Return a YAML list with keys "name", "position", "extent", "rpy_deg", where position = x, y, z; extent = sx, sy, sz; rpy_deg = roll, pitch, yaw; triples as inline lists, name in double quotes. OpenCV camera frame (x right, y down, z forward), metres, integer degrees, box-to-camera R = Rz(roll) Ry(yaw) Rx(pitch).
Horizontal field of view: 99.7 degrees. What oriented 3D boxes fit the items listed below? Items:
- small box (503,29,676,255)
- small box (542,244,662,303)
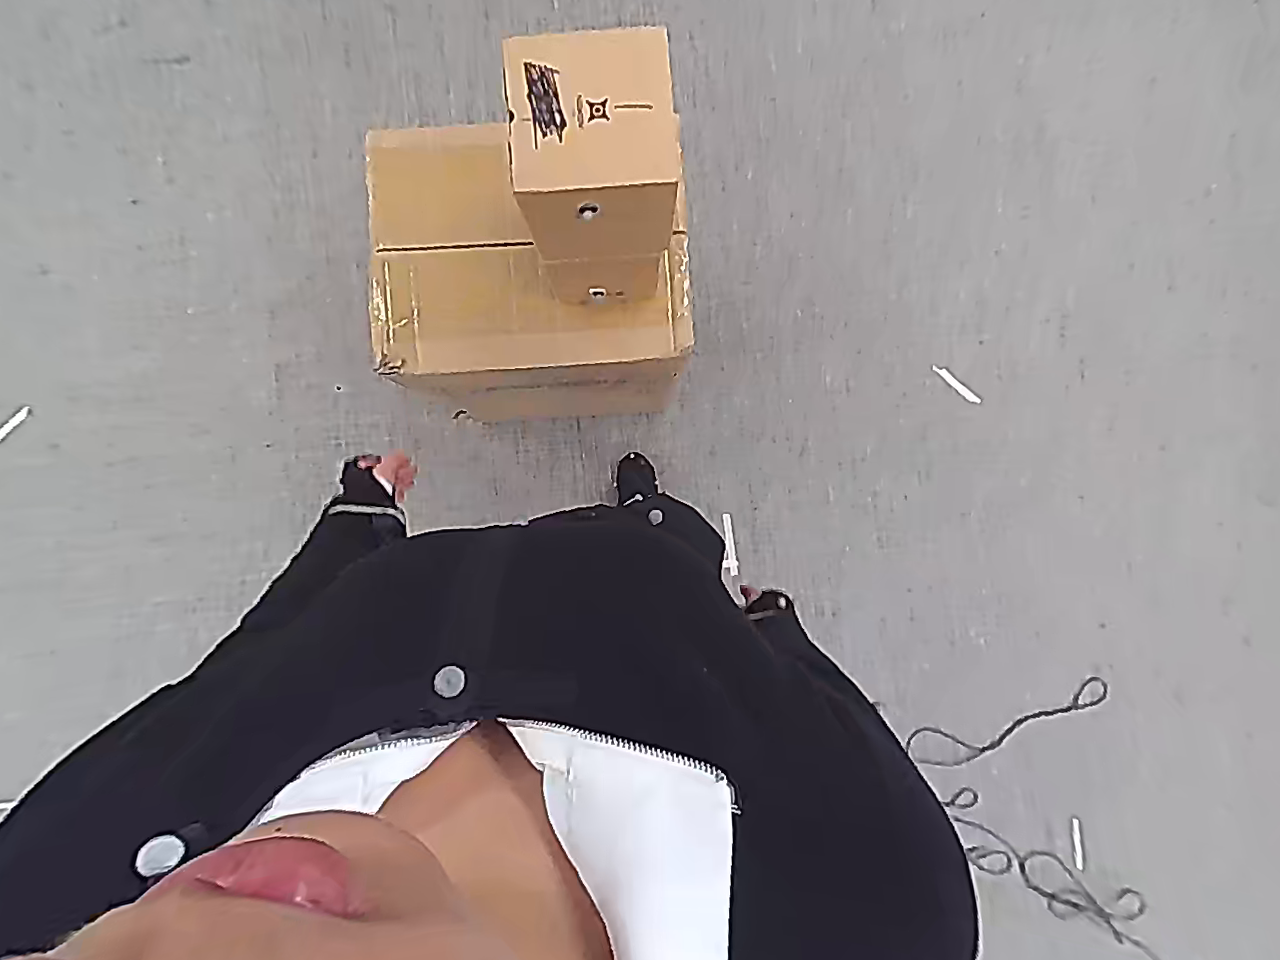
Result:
- name: "small box"
  position: [-0.053, -0.385, 0.646]
  extent: [0.179, 0.176, 0.168]
  rpy_deg: [-4, 89, 0]
- name: "small box"
  position: [-0.057, -0.383, 0.811]
  extent: [0.168, 0.176, 0.179]
  rpy_deg: [-4, 90, 0]
